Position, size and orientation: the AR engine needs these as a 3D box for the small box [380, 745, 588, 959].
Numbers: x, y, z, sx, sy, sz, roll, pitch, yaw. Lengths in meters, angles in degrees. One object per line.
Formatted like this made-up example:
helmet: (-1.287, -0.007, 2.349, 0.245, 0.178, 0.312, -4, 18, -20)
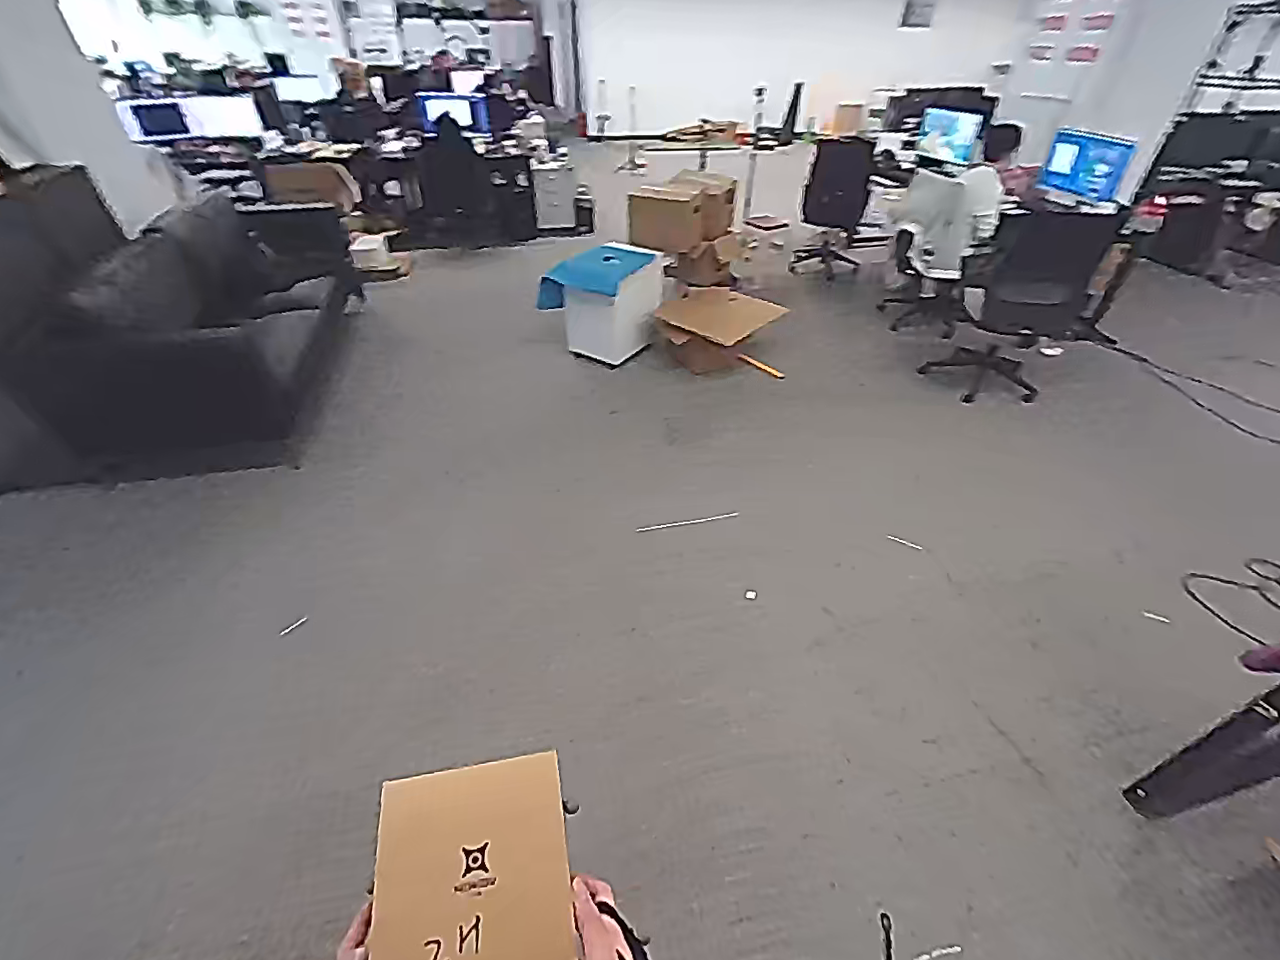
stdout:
small box: (-0.146, 0.392, 0.539, 0.168, 0.176, 0.179, -4, 50, -11)
